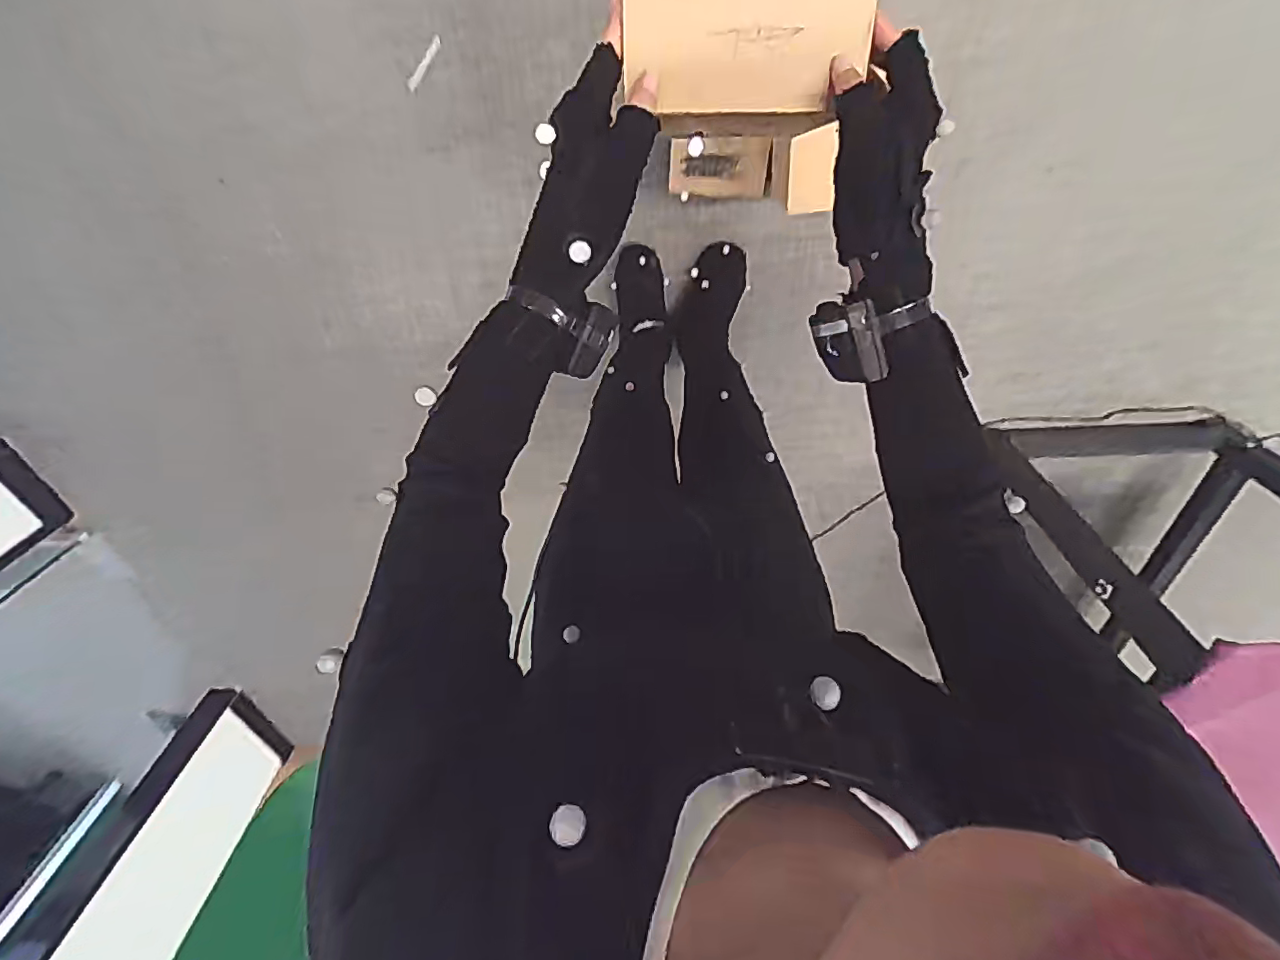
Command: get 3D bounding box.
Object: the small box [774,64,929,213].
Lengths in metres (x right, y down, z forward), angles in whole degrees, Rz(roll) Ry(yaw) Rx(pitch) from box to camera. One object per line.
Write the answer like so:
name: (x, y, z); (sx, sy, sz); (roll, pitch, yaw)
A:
small box: (0.303, -0.514, 0.821); (0.179, 0.176, 0.168); (-4, 125, 6)

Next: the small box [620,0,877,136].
small box: (0.069, -0.368, 0.400); (0.168, 0.176, 0.179); (0, 118, -1)
